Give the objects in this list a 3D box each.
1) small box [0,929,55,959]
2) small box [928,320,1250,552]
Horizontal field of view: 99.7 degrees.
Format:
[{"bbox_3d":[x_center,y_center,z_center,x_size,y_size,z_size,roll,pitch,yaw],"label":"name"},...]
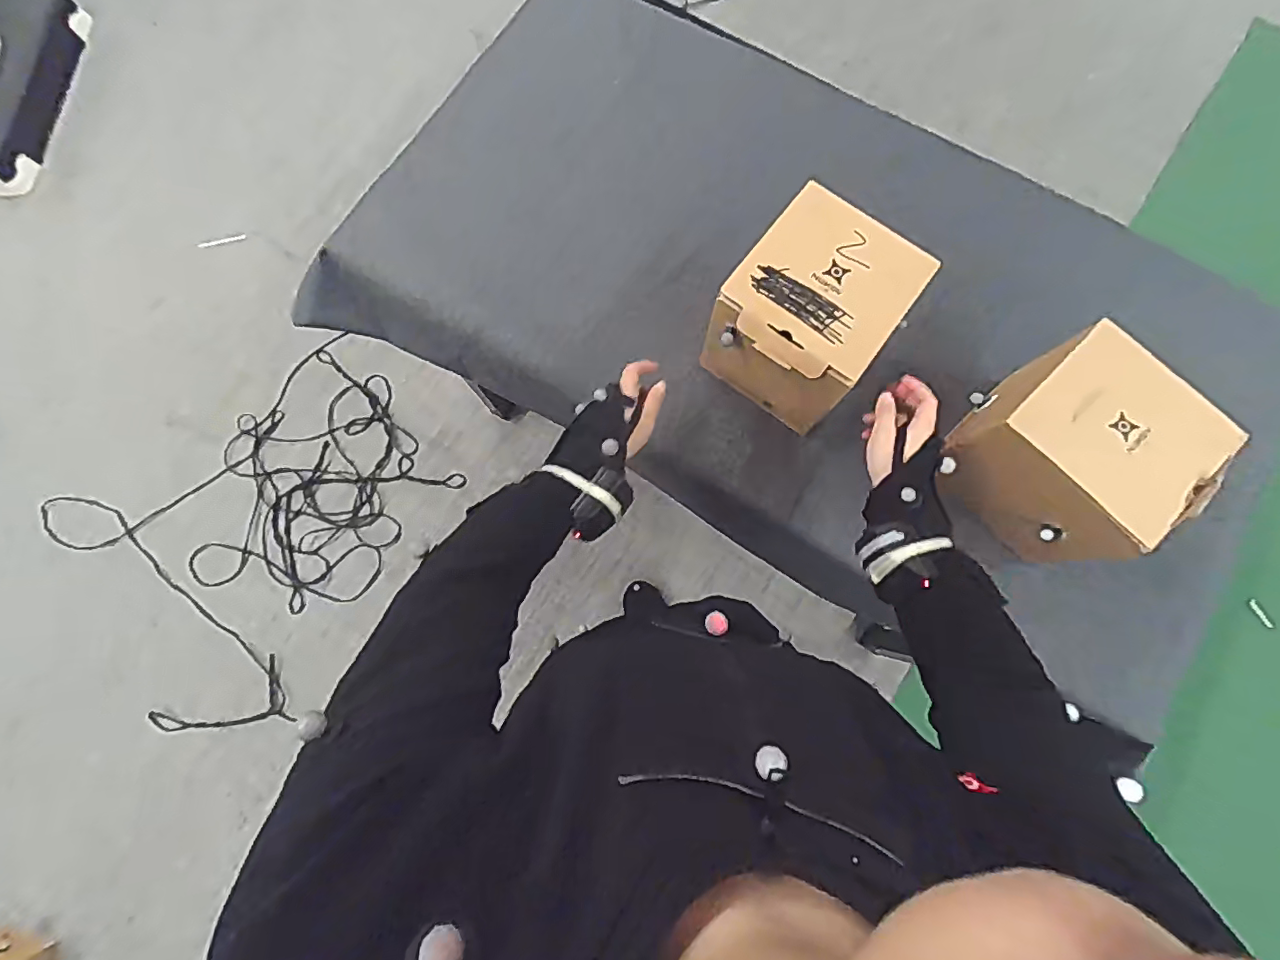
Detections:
[{"bbox_3d":[-1.399,1.095,1.123,0.168,0.176,0.179,12,78,3],"label":"small box"},{"bbox_3d":[0.474,-0.034,0.603,0.168,0.176,0.179,-42,80,-8],"label":"small box"}]
